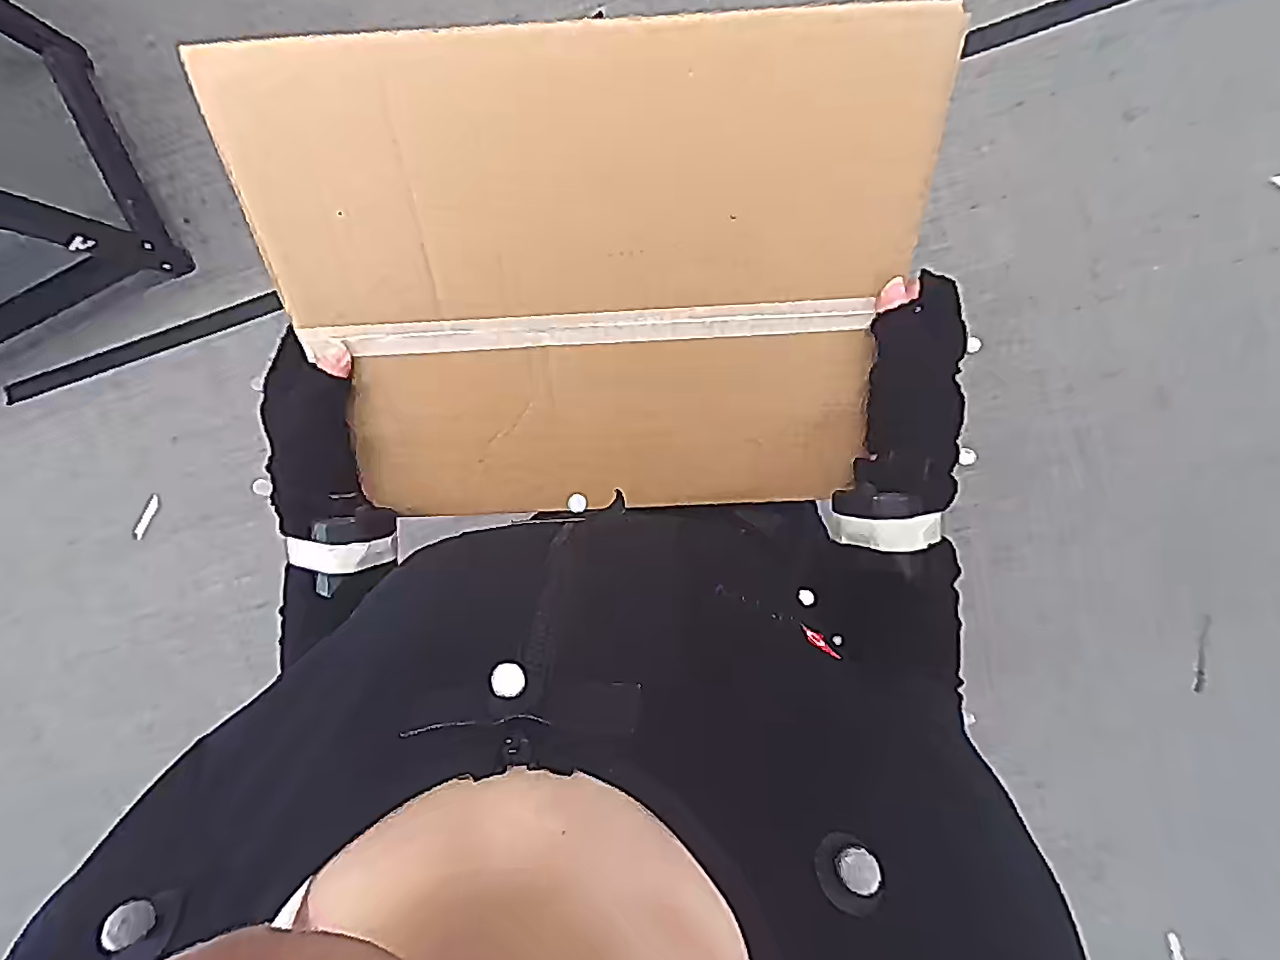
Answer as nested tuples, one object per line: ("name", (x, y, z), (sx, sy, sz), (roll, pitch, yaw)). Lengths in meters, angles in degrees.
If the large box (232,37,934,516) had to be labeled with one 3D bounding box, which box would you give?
("large box", (-0.026, -0.194, 0.506), (0.408, 0.320, 0.320), (-4, 128, 1))
